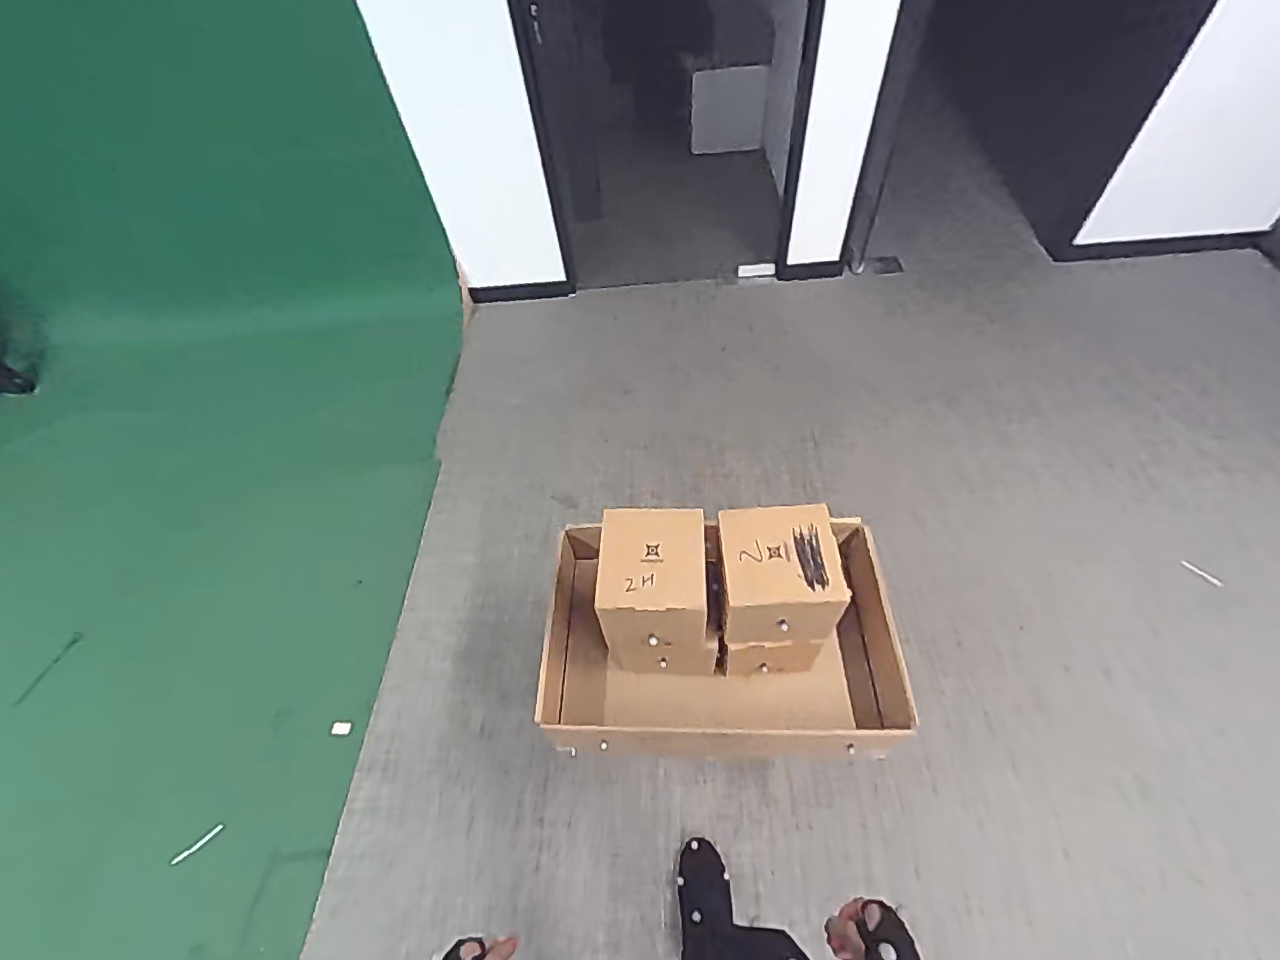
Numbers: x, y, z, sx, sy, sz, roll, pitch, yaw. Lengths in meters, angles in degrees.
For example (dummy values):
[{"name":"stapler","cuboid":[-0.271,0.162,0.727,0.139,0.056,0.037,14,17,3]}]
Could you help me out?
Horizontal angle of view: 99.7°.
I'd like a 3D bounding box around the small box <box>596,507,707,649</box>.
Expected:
[{"name":"small box","cuboid":[0.025,0.163,0.898,0.168,0.176,0.179,0,54,5]}]
